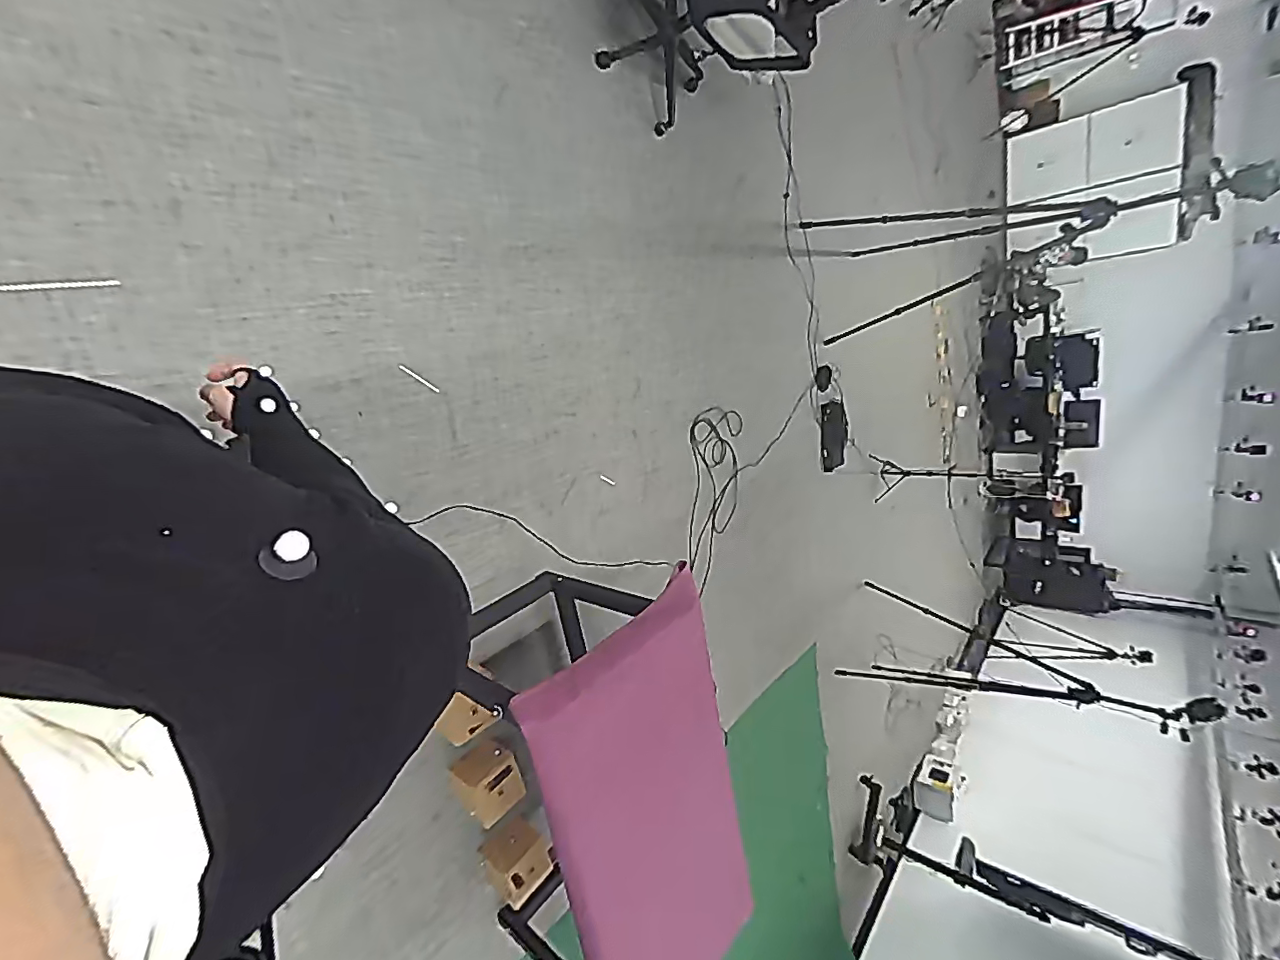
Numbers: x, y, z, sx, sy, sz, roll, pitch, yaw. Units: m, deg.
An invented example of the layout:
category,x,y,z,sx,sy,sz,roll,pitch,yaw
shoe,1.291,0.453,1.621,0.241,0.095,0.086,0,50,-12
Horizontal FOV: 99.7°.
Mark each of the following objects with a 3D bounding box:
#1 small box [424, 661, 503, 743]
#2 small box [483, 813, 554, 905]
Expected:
category,x,y,z,sx,sy,sz,roll,pitch,yaw
small box,-0.579,0.710,1.761,0.168,0.176,0.179,-22,108,-44
small box,-0.444,1.358,1.947,0.179,0.176,0.168,-29,114,-43
